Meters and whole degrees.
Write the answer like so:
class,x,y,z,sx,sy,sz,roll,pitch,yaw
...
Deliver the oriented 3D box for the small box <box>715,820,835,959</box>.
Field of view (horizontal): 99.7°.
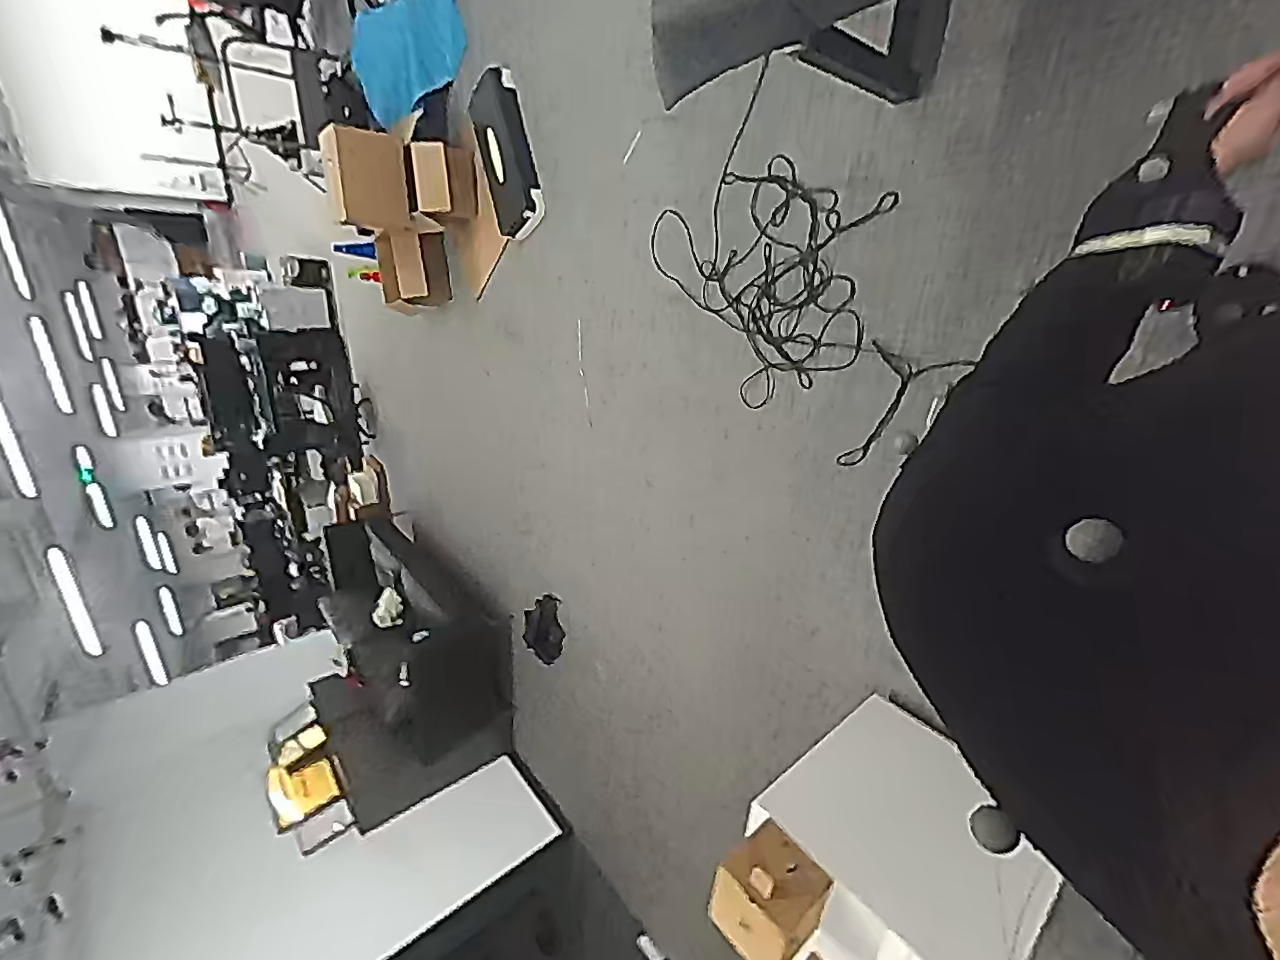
class,x,y,z,sx,sy,sz,roll,pitch,yaw
small box,0.278,0.861,1.117,0.168,0.176,0.179,28,123,44
